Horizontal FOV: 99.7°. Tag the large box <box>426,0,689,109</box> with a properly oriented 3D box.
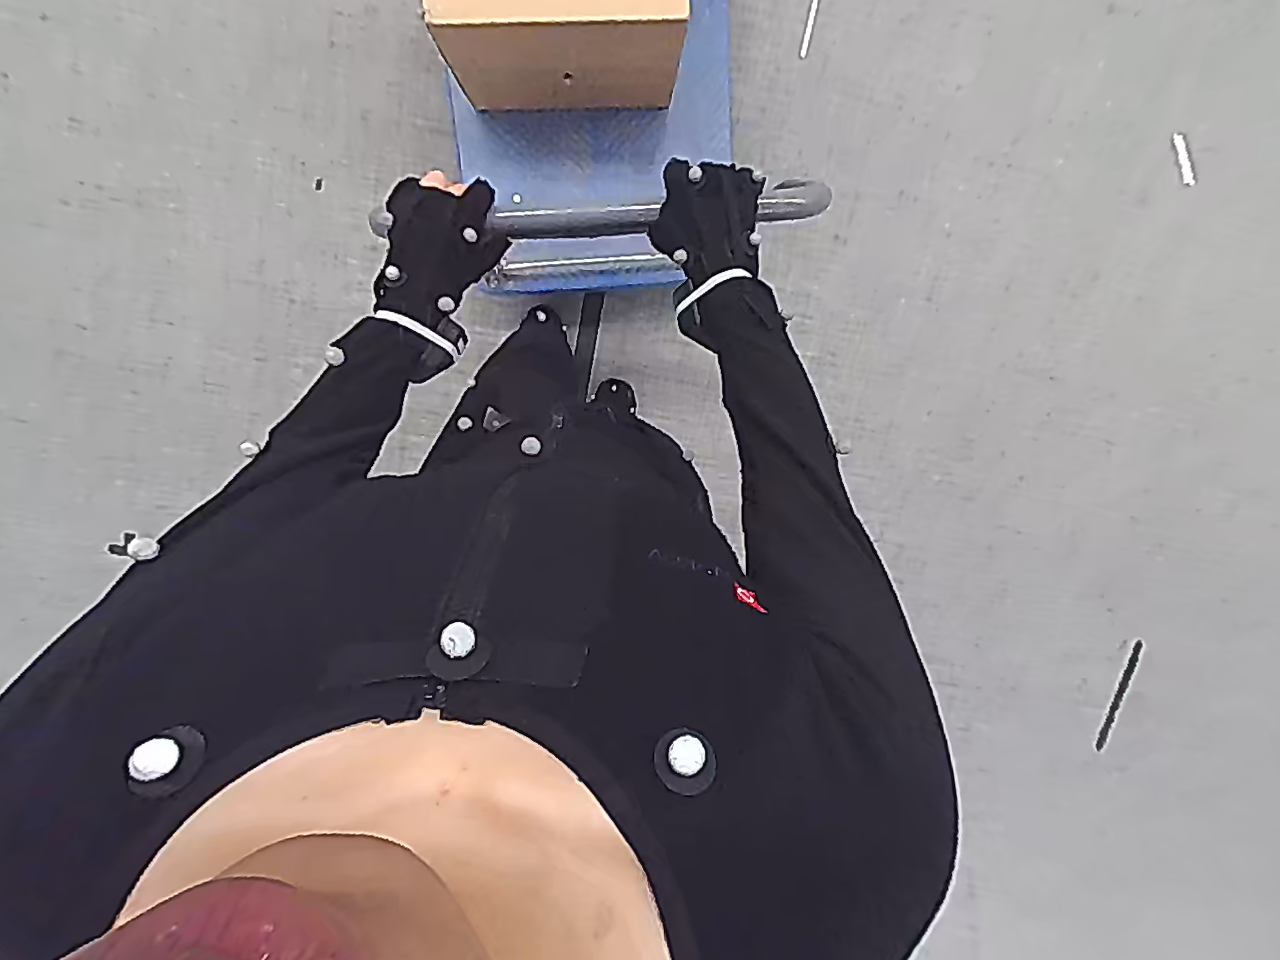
[{"bbox_3d":[-0.134,-0.880,0.935,0.408,0.320,0.320,-3,104,-2],"label":"large box"}]
